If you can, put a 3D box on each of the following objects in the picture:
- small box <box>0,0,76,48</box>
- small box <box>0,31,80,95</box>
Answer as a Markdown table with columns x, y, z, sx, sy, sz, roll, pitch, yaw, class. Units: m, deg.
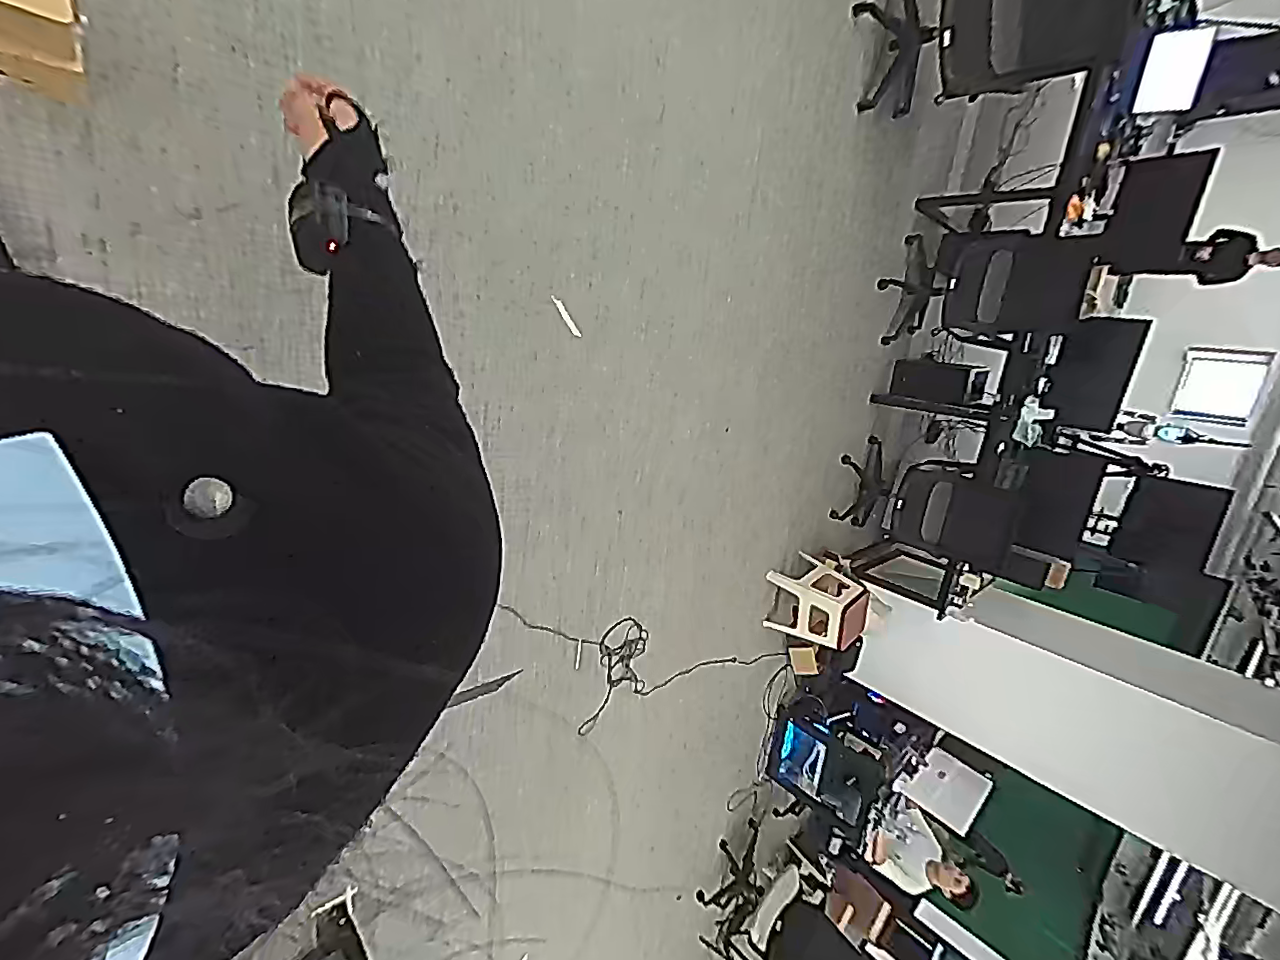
| x | y | z | sx | sy | sz | roll | pitch | yaw | class |
| --- | --- | --- | --- | --- | --- | --- | --- | --- | --- |
| -0.758 | -0.620 | 0.596 | 0.179 | 0.176 | 0.168 | -7 | 112 | -44 | small box |
| -0.983 | -0.720 | 0.815 | 0.168 | 0.176 | 0.179 | -14 | 115 | -42 | small box |
